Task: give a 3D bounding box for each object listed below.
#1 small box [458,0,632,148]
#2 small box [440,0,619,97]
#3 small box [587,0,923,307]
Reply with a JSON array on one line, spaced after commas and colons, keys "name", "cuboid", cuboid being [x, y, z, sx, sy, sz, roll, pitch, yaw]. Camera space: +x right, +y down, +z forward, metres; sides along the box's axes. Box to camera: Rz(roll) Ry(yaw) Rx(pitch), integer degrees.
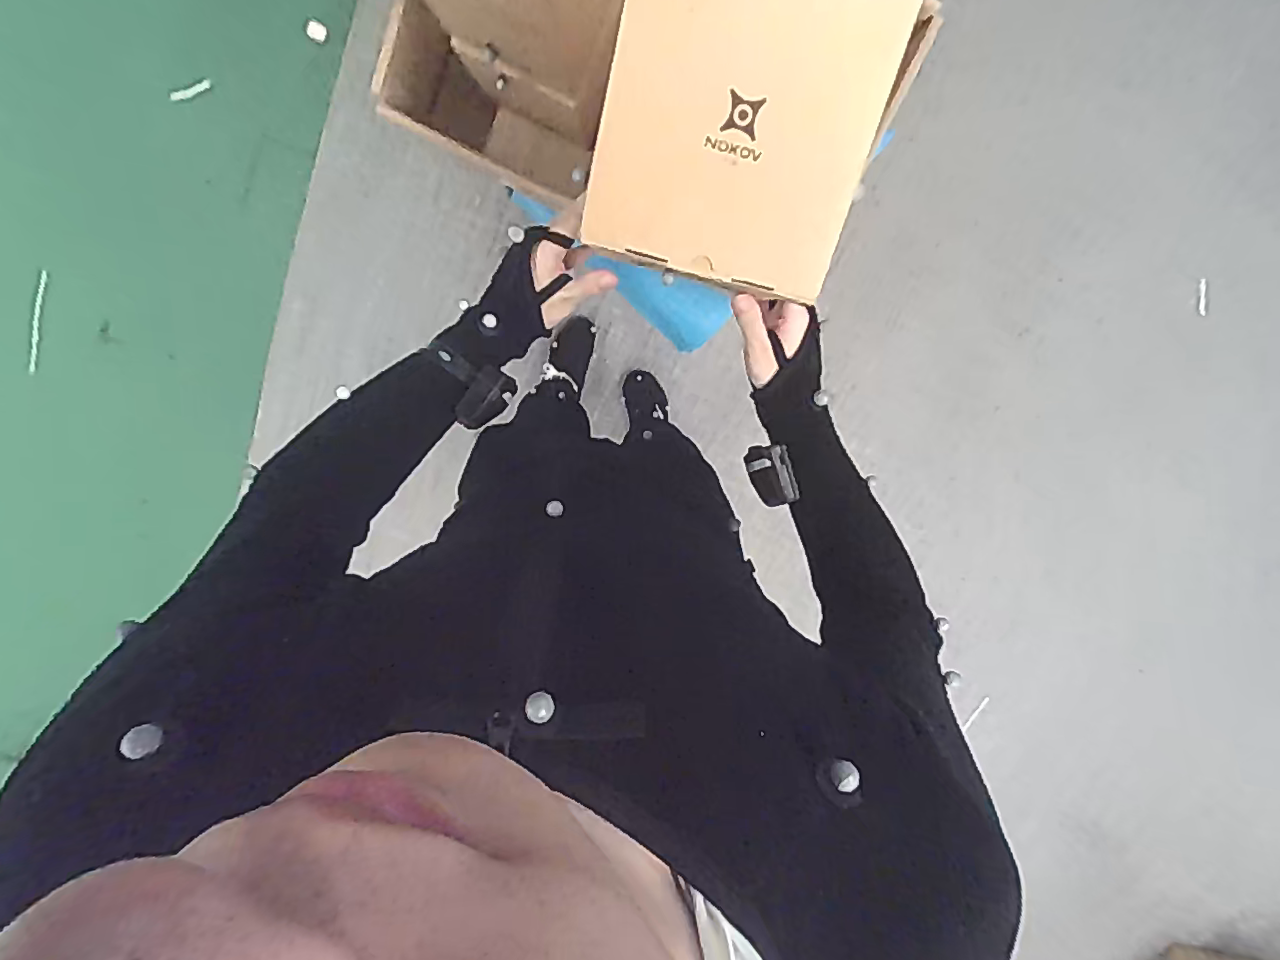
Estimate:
[{"name": "small box", "cuboid": [-0.108, -0.584, 0.710, 0.168, 0.176, 0.179, 25, 104, -5]}, {"name": "small box", "cuboid": [-0.111, -0.547, 0.552, 0.168, 0.176, 0.179, 24, 104, -6]}, {"name": "small box", "cuboid": [0.062, -0.241, 0.401, 0.168, 0.176, 0.179, 12, 111, -5]}]
